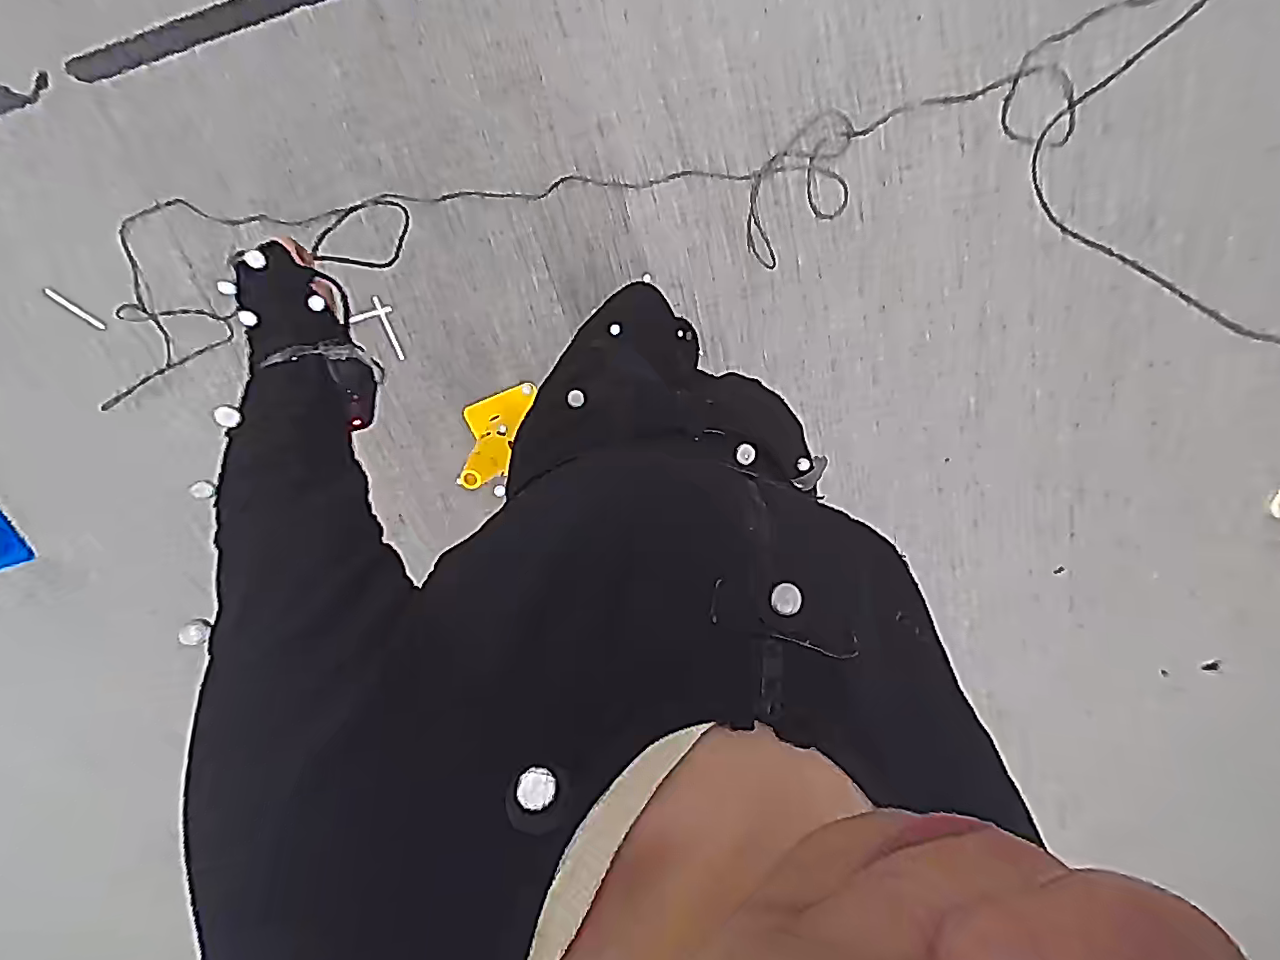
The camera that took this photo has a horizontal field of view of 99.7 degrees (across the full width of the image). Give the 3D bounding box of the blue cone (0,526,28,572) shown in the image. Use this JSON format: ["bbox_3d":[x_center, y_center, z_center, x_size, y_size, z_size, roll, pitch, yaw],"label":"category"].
[{"bbox_3d":[-1.834,0.238,1.351,0.193,0.380,0.192,-13,111,6],"label":"blue cone"}]
